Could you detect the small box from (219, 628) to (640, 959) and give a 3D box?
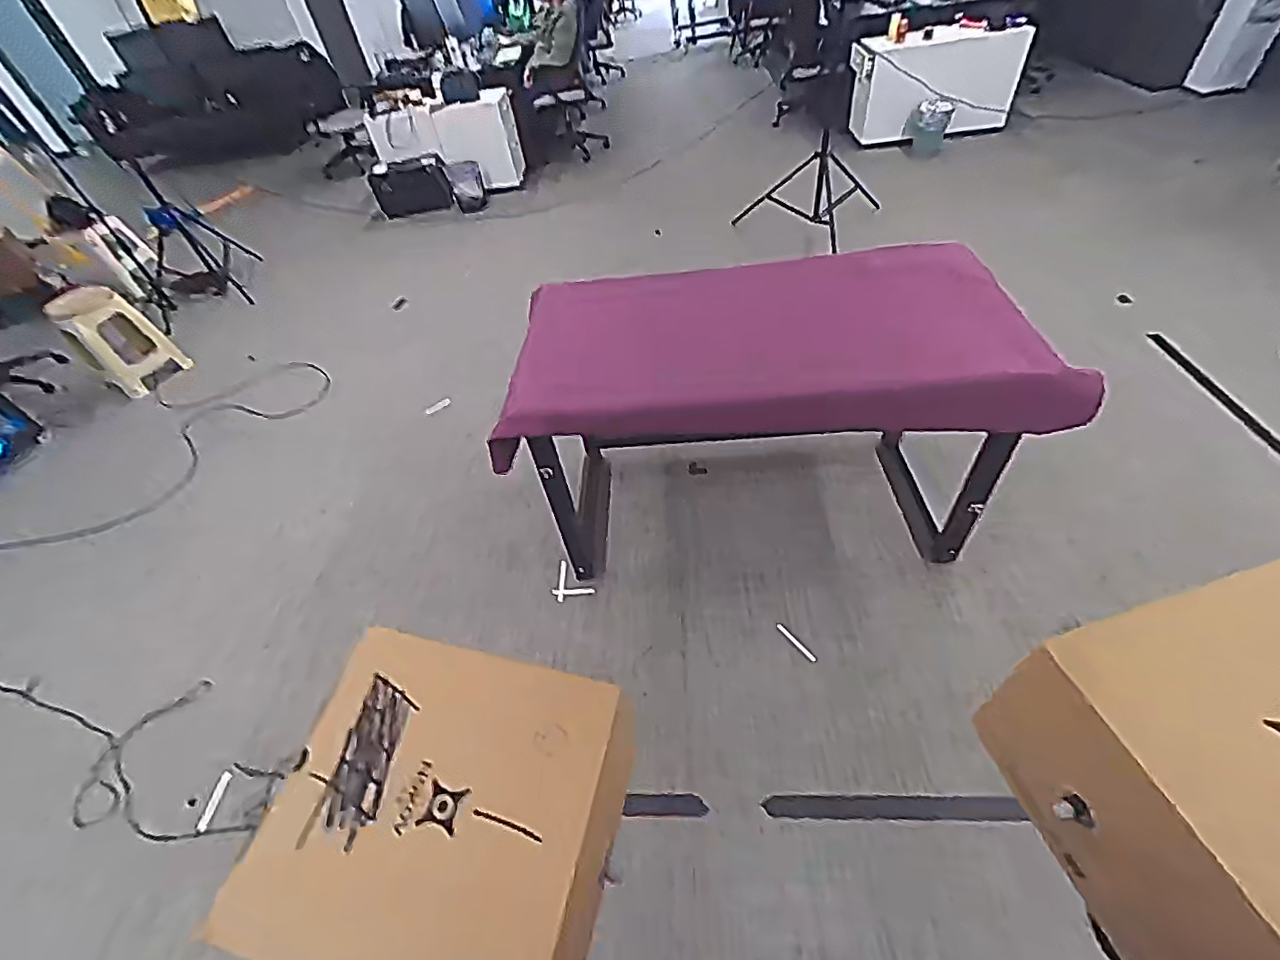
[{"bbox_3d":[-0.105,0.223,0.362,0.179,0.176,0.168,10,55,10],"label":"small box"}]

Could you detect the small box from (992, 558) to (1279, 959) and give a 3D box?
[{"bbox_3d":[0.357,0.178,0.334,0.179,0.176,0.168,-18,50,-1],"label":"small box"}]
